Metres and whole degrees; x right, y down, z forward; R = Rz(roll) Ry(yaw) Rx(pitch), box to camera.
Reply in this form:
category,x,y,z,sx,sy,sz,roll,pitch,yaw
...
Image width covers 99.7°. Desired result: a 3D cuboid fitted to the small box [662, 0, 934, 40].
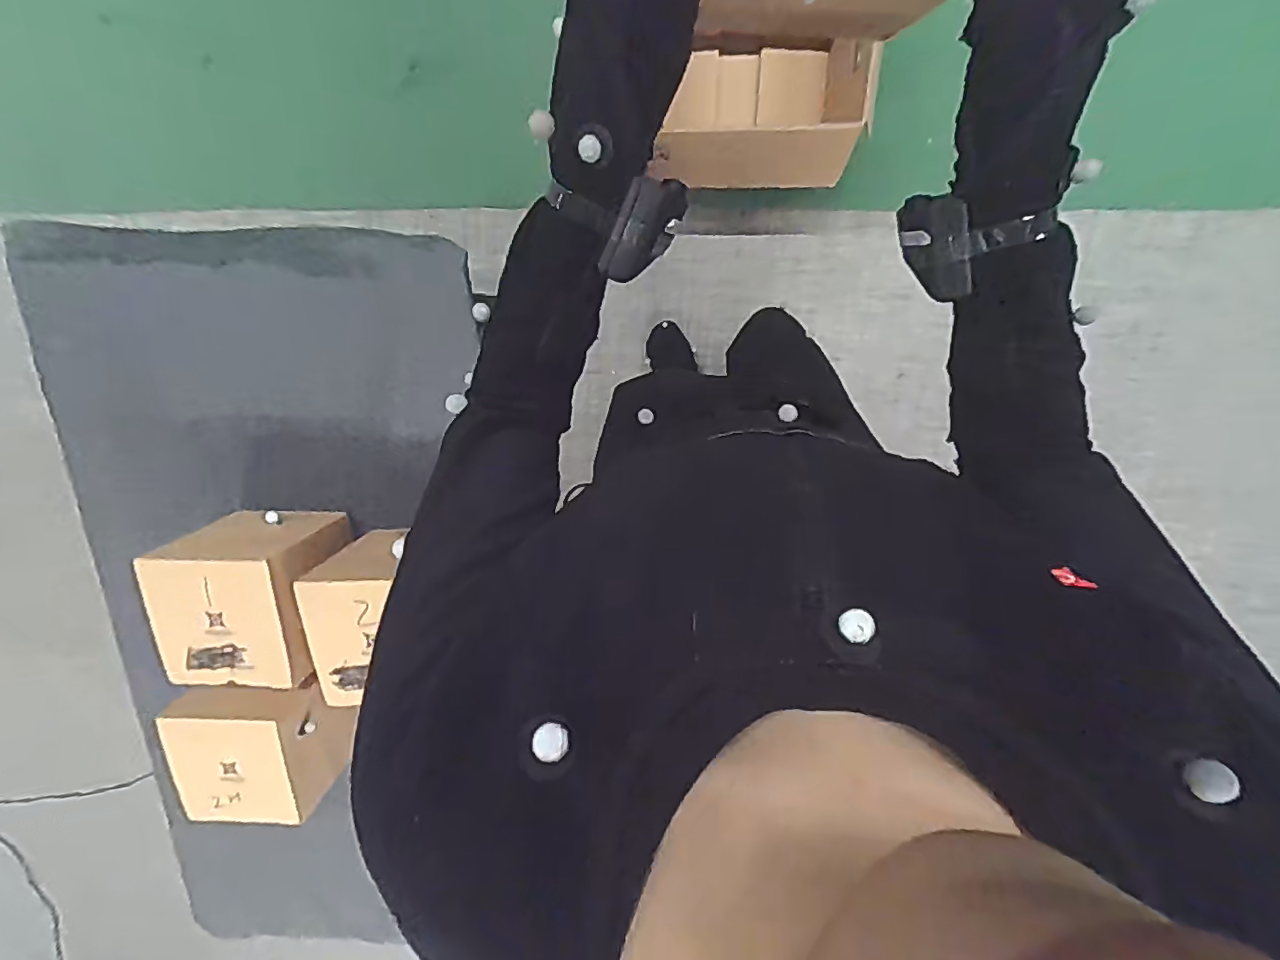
category,x,y,z,sx,sy,sz,roll,pitch,yaw
small box,0.106,-0.375,0.303,0.179,0.176,0.168,4,115,0
